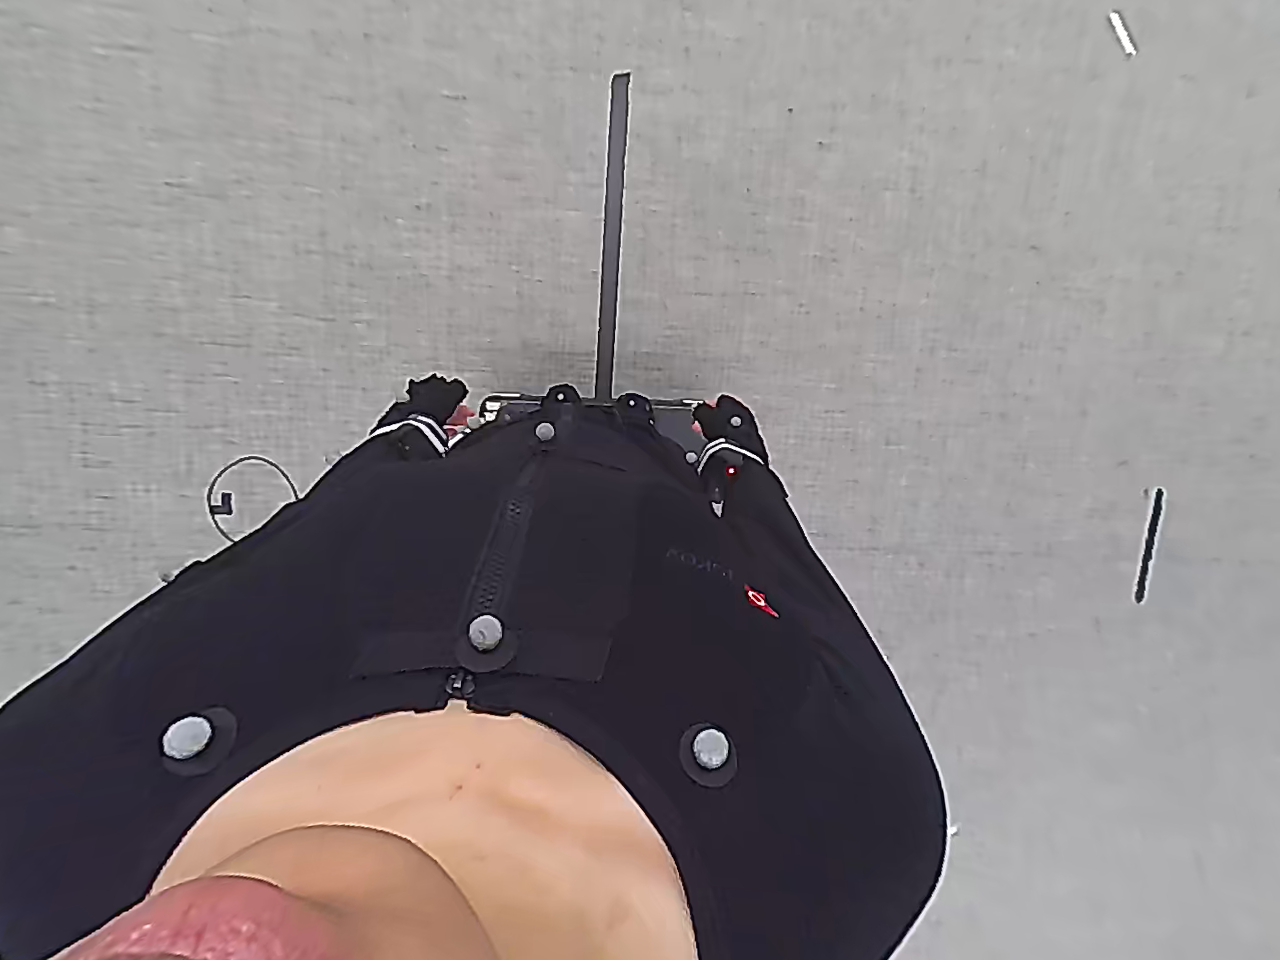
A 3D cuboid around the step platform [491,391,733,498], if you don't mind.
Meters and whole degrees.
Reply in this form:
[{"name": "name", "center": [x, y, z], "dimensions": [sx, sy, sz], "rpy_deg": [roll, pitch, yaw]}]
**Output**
[{"name": "step platform", "center": [-0.077, -0.104, 1.559], "dimensions": [0.684, 0.204, 0.286], "rpy_deg": [1, 100, -4]}]
